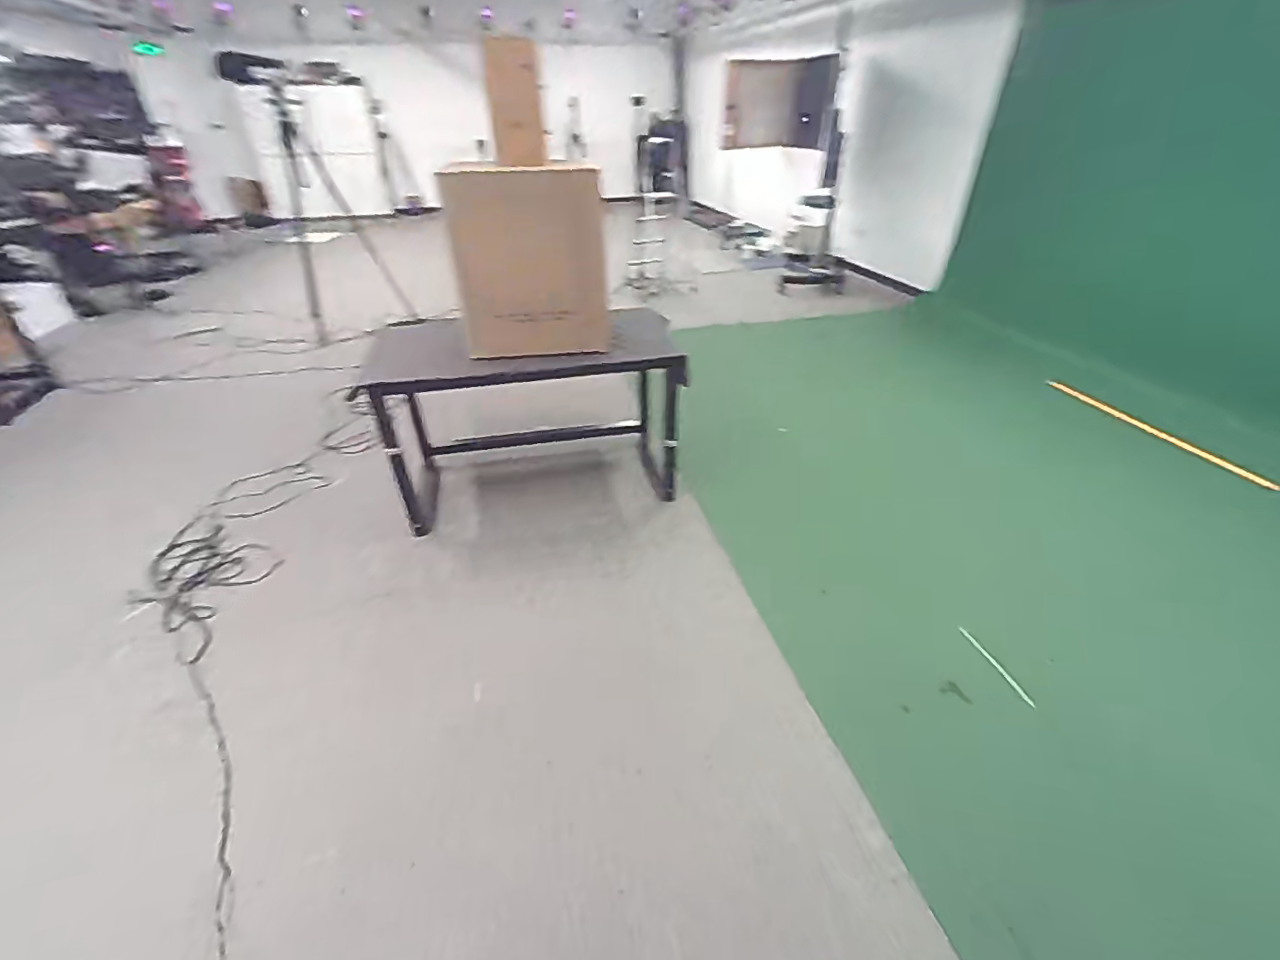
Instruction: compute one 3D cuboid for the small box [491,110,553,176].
[{"bbox_3d":[-0.382,-1.115,1.785,0.179,0.176,0.168,-4,37,-5],"label":"small box"}]
